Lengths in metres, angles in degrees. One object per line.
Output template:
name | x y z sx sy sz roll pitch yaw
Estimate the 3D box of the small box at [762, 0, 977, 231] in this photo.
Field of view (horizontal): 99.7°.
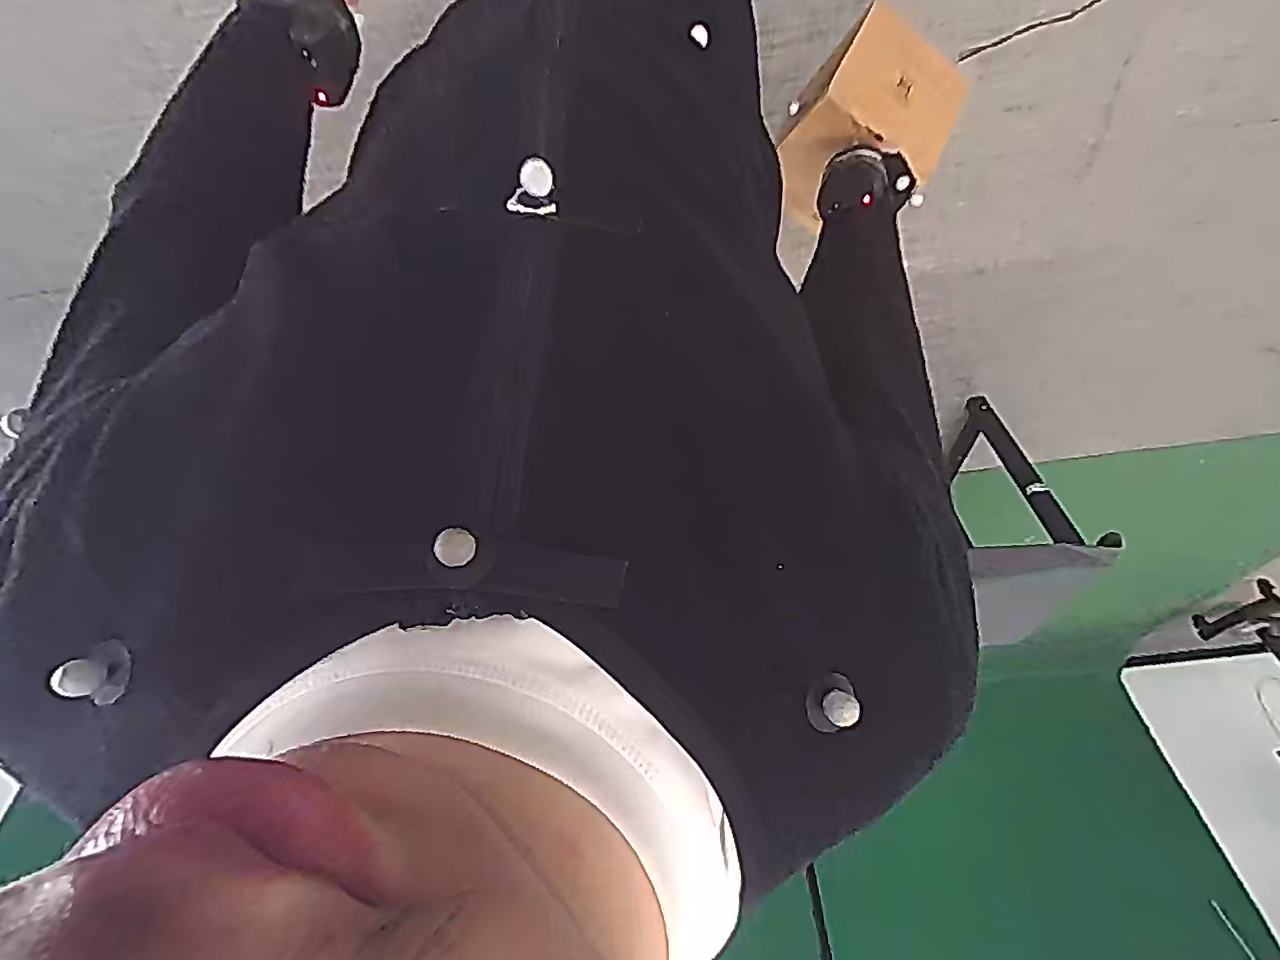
small box | 0.287 -0.471 0.709 0.168 0.179 0.176 30 168 -16
